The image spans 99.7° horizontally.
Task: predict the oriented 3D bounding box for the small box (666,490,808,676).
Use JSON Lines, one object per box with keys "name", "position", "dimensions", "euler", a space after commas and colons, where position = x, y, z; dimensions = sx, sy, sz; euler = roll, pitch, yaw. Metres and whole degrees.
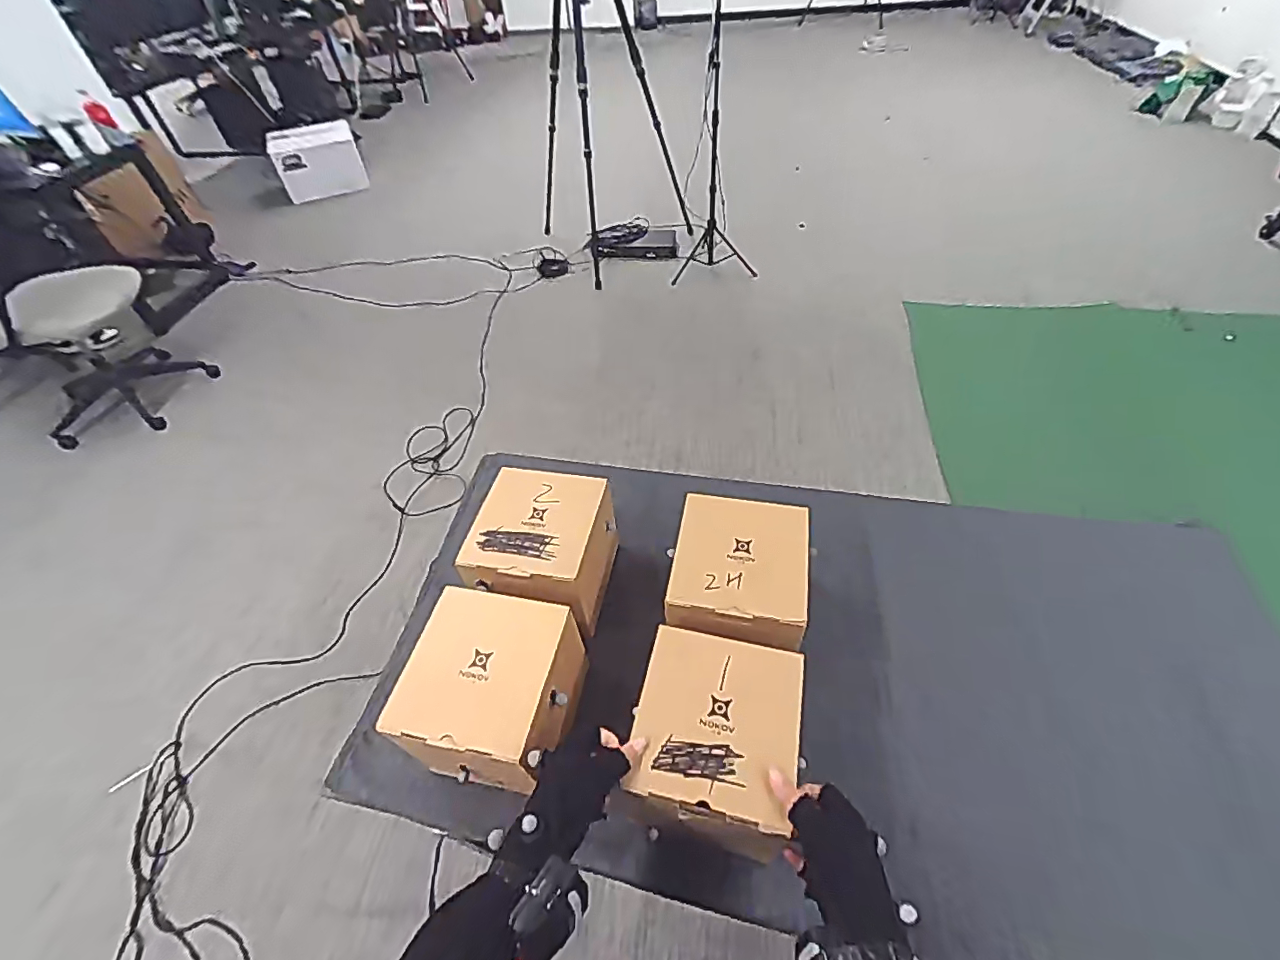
{"name": "small box", "position": [0.131, 0.141, 0.745], "dimensions": [0.168, 0.176, 0.179], "euler": [7, 49, 11]}
